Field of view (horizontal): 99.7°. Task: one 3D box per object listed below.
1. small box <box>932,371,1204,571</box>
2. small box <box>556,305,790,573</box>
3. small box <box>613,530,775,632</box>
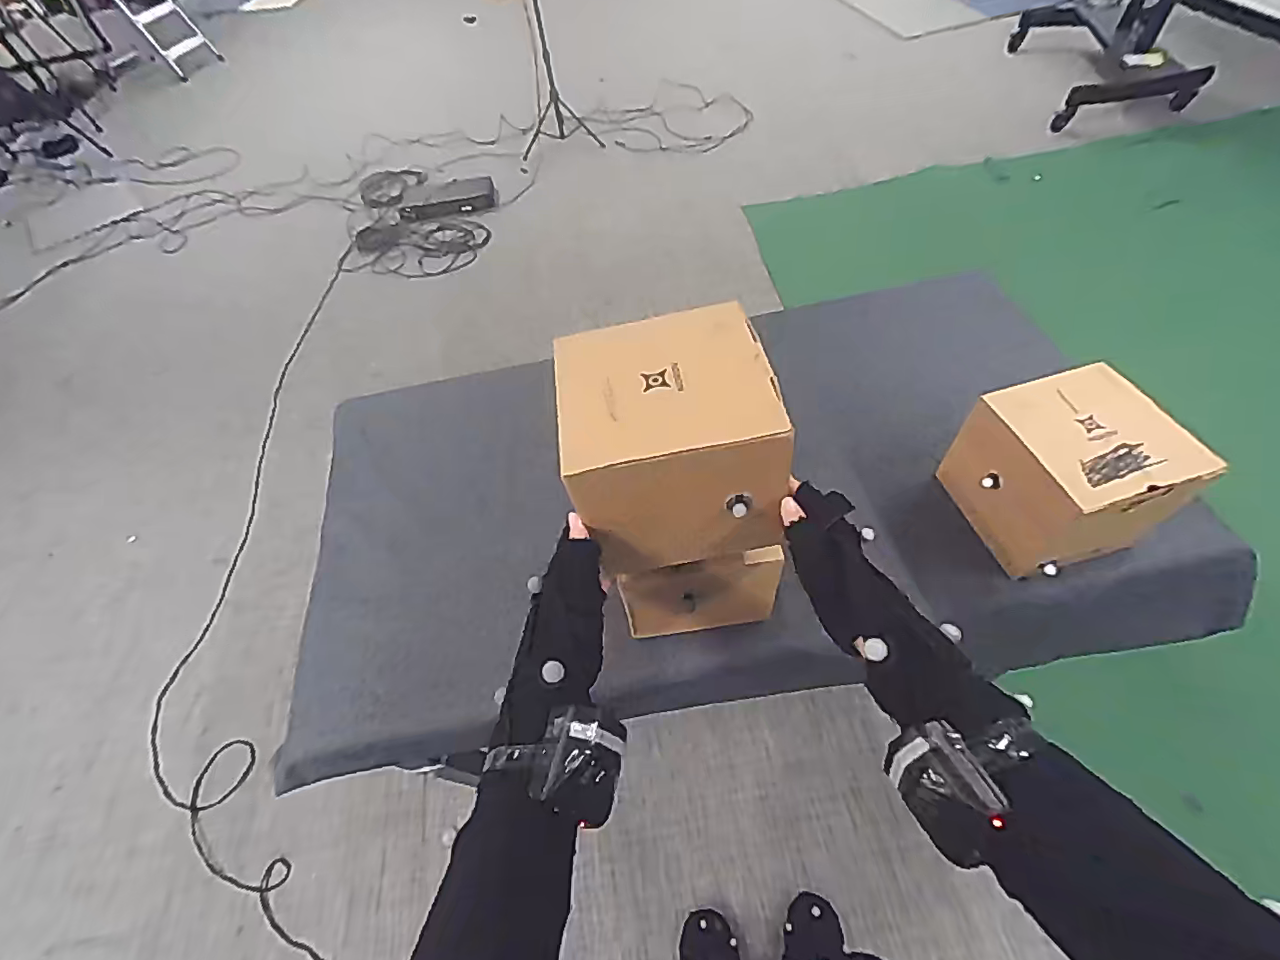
[{"bbox_3d":[0.510,-0.002,0.681,0.168,0.176,0.179,-15,54,-3],"label":"small box"},{"bbox_3d":[0.029,-0.032,0.512,0.179,0.176,0.168,-12,51,3],"label":"small box"},{"bbox_3d":[0.059,0.078,0.679,0.179,0.176,0.168,-9,54,1],"label":"small box"}]
